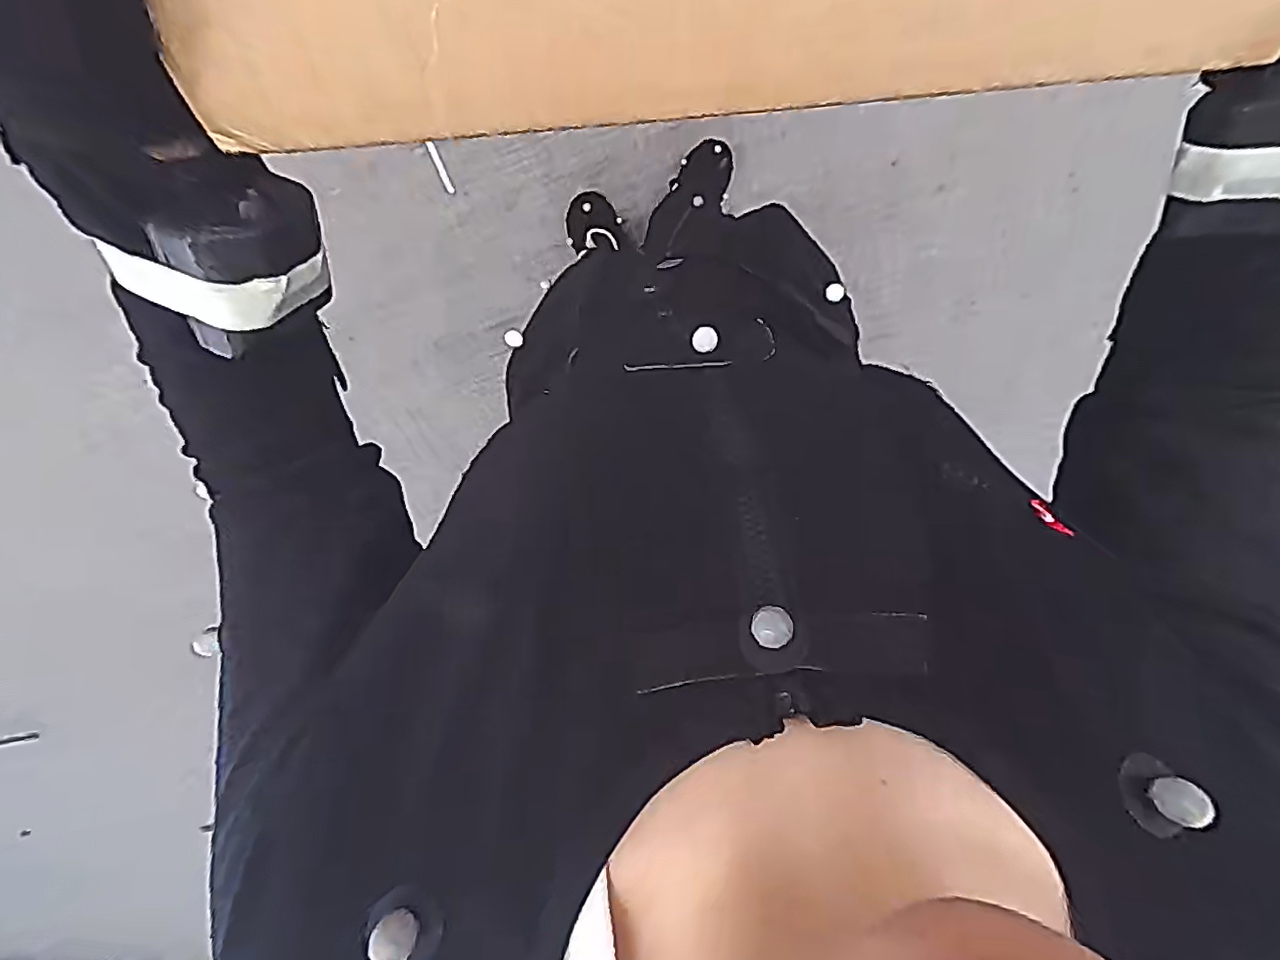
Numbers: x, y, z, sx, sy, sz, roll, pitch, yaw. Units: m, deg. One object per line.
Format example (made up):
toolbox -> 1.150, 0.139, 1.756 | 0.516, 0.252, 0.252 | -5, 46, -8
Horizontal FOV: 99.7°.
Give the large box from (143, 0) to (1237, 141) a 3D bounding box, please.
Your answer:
large box -> 0.014, -0.364, 0.182 | 0.408, 0.320, 0.320 | -7, 141, -3
